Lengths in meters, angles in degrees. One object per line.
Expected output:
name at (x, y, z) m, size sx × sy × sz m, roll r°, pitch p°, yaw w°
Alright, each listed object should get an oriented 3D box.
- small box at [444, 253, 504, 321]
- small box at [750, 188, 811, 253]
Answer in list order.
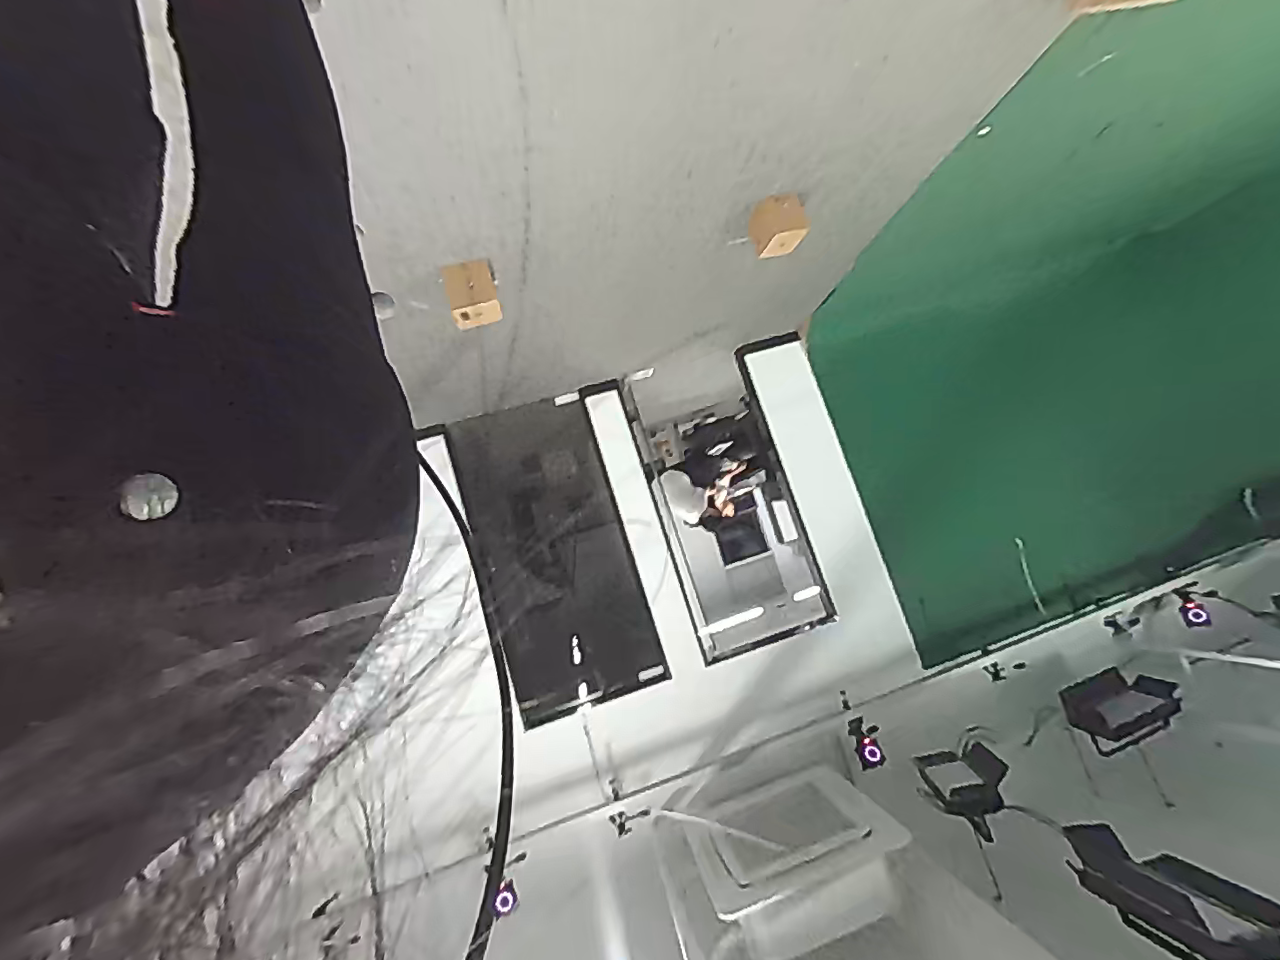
small box at (-0.632, -0.733, 2.053) m, size 0.179 × 0.176 × 0.168 m, roll -17°, pitch 173°, yaw -11°
small box at (0.576, -1.079, 2.248) m, size 0.168 × 0.176 × 0.179 m, roll -16°, pitch 173°, yaw -15°
